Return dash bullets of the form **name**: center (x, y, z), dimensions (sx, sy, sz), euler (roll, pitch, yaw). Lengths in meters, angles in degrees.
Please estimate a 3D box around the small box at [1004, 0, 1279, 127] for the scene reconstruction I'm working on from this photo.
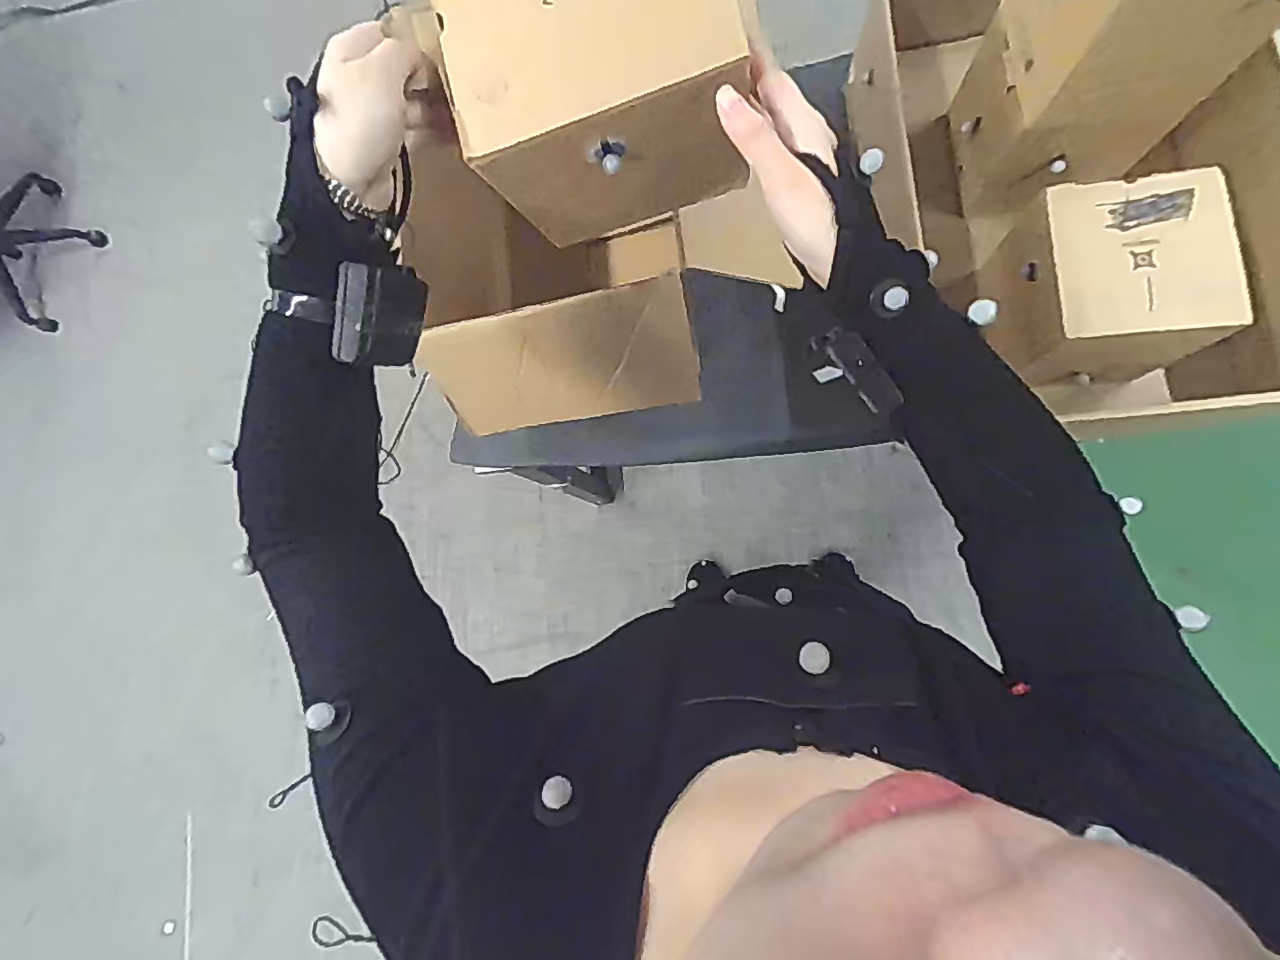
- **small box**: center (0.481, -0.479, 0.516), dimensions (0.179, 0.176, 0.168), euler (-6, 83, 8)

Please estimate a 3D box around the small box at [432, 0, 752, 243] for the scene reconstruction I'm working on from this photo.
- **small box**: center (-0.022, -0.292, 0.382), dimensions (0.179, 0.176, 0.168), euler (-12, 94, 12)
